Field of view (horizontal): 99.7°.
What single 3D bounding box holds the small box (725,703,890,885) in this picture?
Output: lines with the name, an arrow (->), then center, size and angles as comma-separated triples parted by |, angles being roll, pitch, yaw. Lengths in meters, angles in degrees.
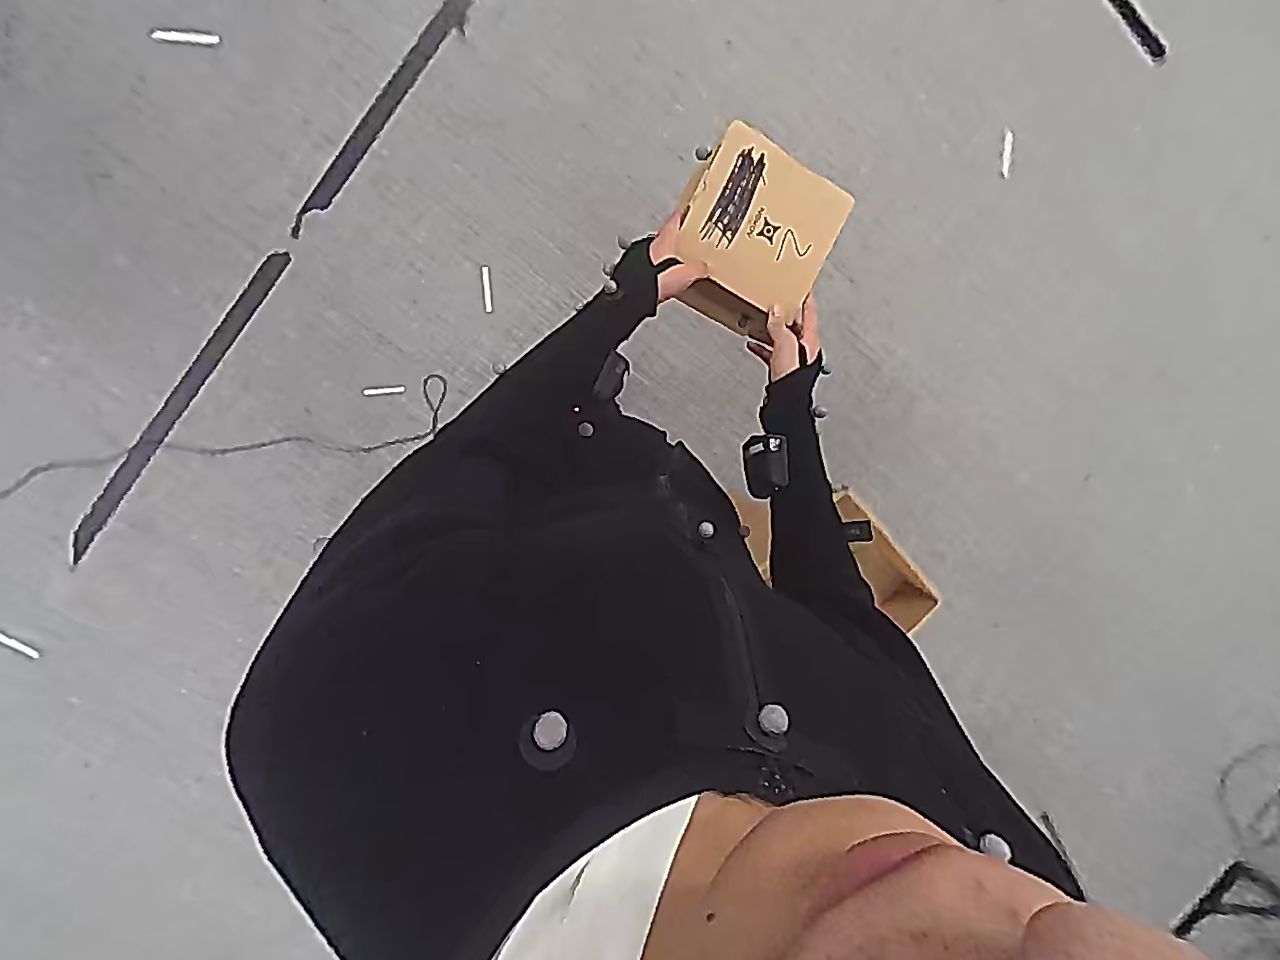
small box -> 0.278, 0.526, 0.929 | 0.168, 0.176, 0.179 | -42, 105, -1
